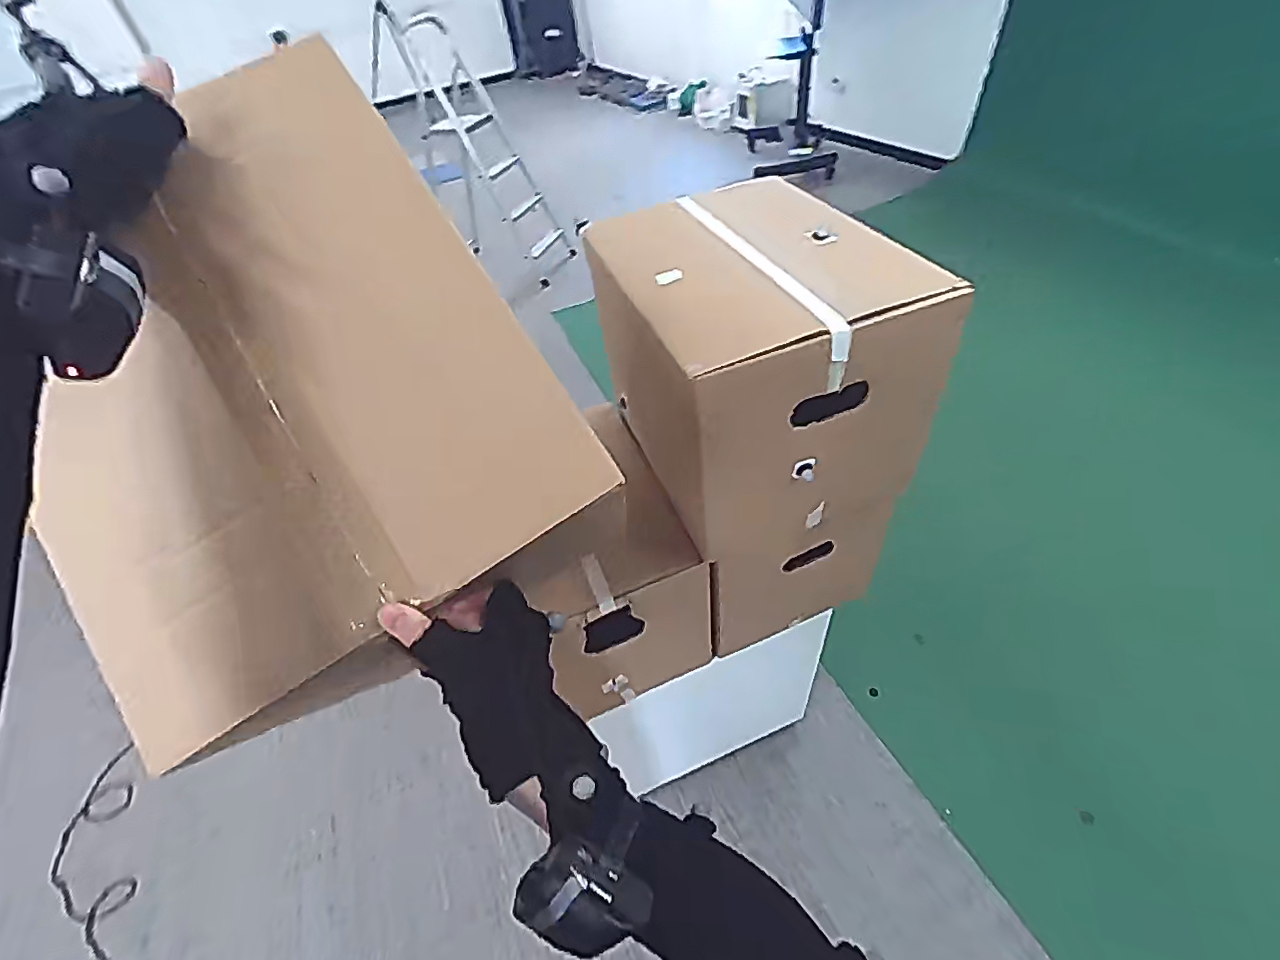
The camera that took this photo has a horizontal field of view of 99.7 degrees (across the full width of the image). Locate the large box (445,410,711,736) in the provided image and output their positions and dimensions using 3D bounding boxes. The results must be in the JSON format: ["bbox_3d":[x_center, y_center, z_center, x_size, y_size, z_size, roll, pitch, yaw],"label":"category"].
[{"bbox_3d":[-0.108,0.148,0.947,0.320,0.320,0.408,-21,45,-11],"label":"large box"}]
